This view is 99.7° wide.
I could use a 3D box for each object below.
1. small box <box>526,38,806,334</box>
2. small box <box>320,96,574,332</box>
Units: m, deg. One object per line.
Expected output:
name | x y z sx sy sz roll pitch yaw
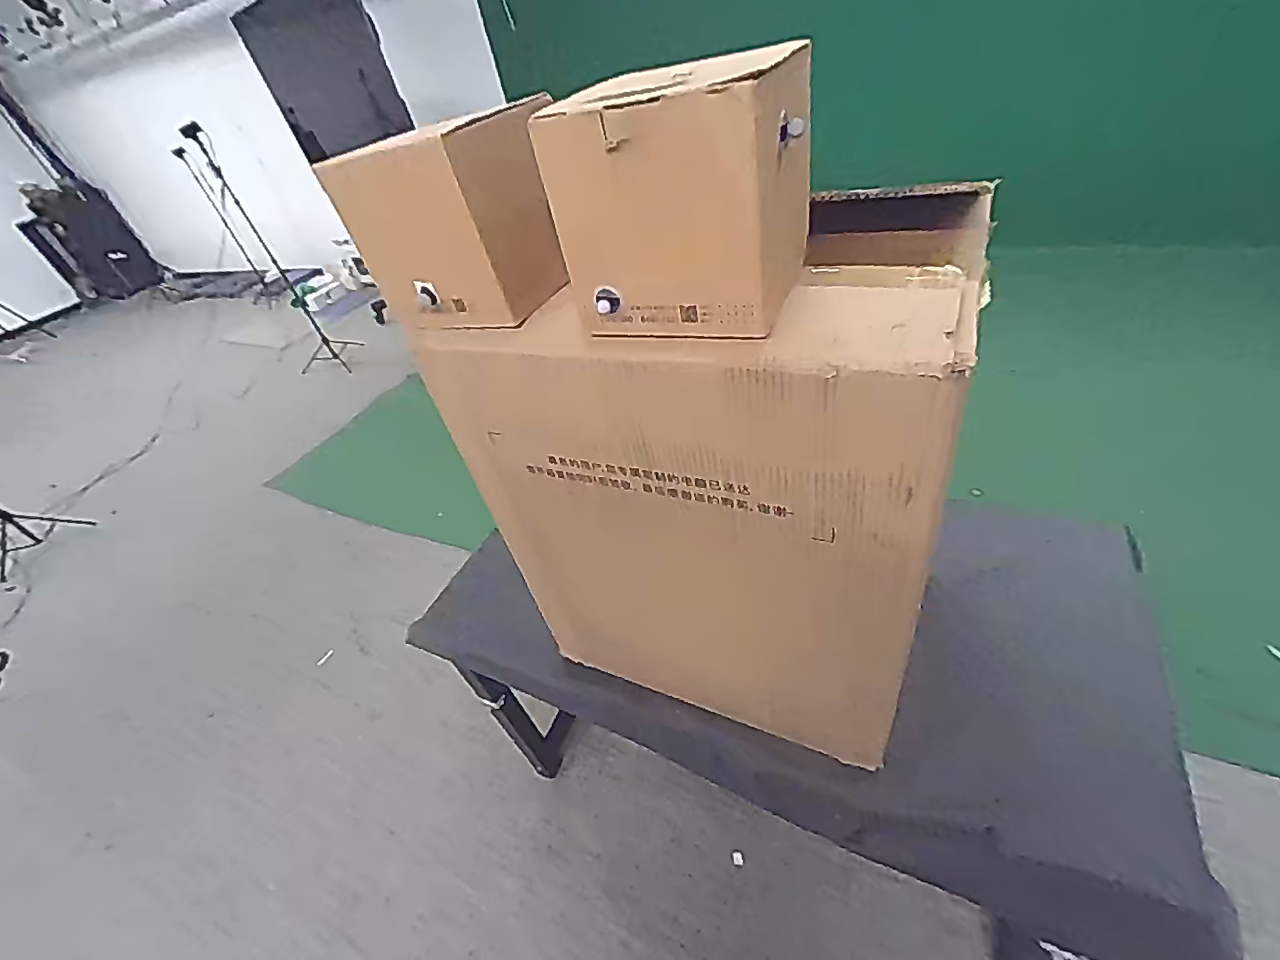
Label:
small box | 0.040 -0.235 0.452 0.168 0.176 0.179 9 45 25
small box | -0.175 -0.272 0.569 0.168 0.176 0.179 6 45 27
